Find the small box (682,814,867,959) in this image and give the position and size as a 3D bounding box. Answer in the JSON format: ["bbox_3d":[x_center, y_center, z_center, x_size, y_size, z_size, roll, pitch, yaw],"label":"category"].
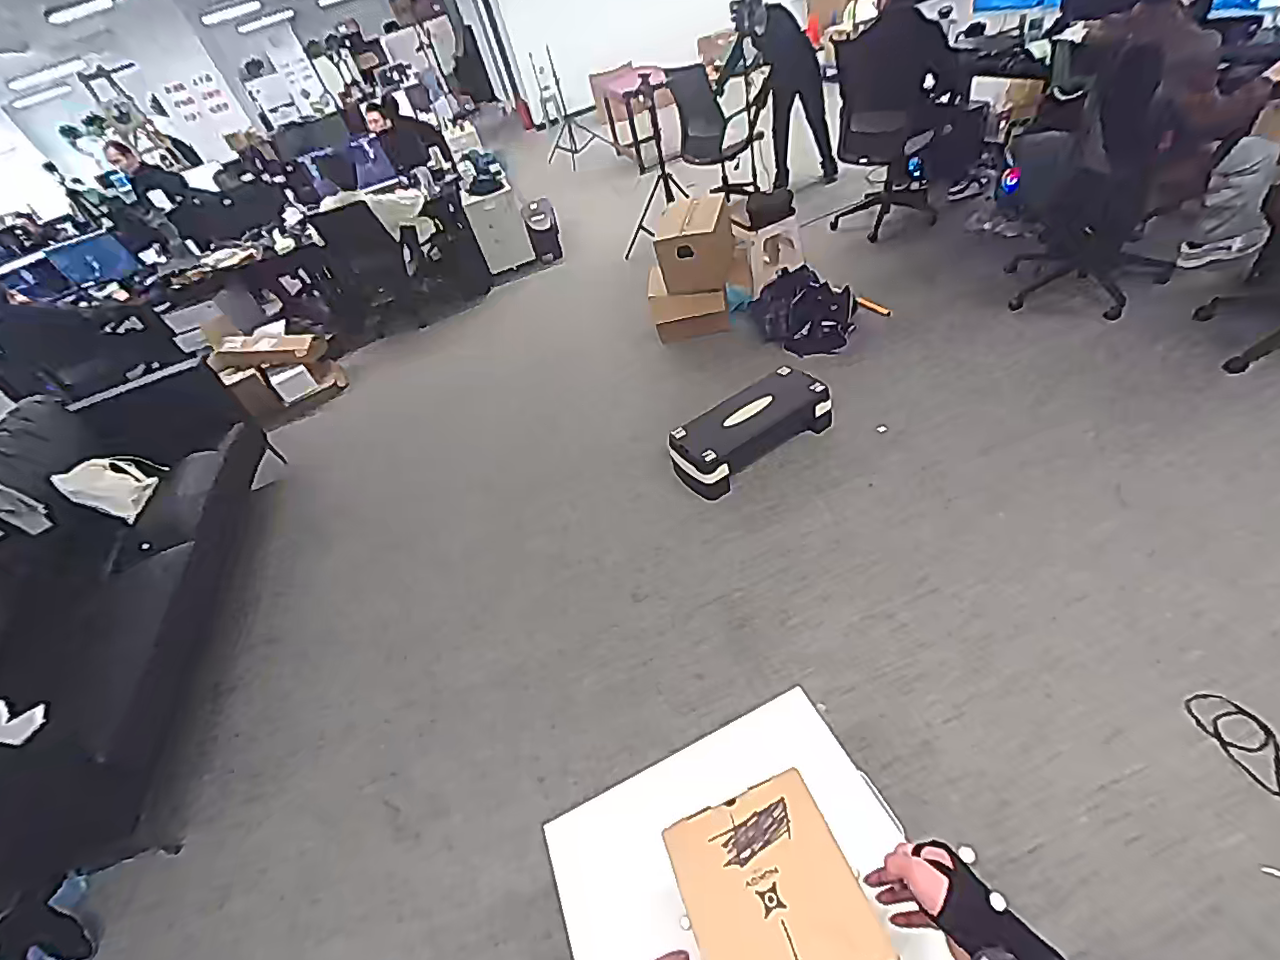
[{"bbox_3d":[0.172,0.574,0.690,0.168,0.176,0.179,-22,40,-6],"label":"small box"}]
